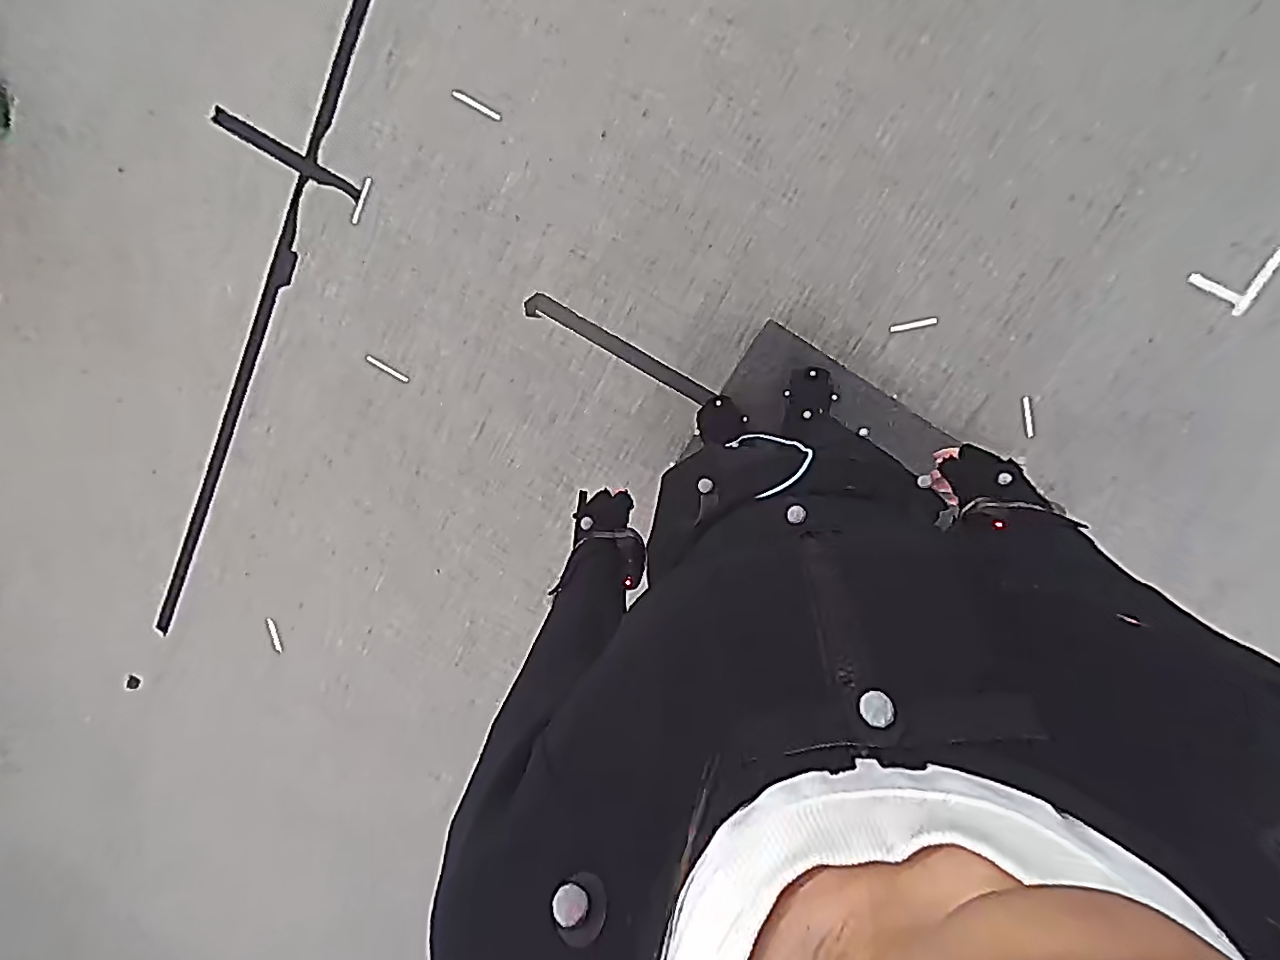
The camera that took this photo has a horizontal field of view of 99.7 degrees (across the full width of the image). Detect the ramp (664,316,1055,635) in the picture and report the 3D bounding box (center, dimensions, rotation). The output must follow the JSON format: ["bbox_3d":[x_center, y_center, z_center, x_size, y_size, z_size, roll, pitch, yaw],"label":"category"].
[{"bbox_3d":[0.609,0.025,1.475,0.991,0.206,0.509,30,103,1],"label":"ramp"}]
